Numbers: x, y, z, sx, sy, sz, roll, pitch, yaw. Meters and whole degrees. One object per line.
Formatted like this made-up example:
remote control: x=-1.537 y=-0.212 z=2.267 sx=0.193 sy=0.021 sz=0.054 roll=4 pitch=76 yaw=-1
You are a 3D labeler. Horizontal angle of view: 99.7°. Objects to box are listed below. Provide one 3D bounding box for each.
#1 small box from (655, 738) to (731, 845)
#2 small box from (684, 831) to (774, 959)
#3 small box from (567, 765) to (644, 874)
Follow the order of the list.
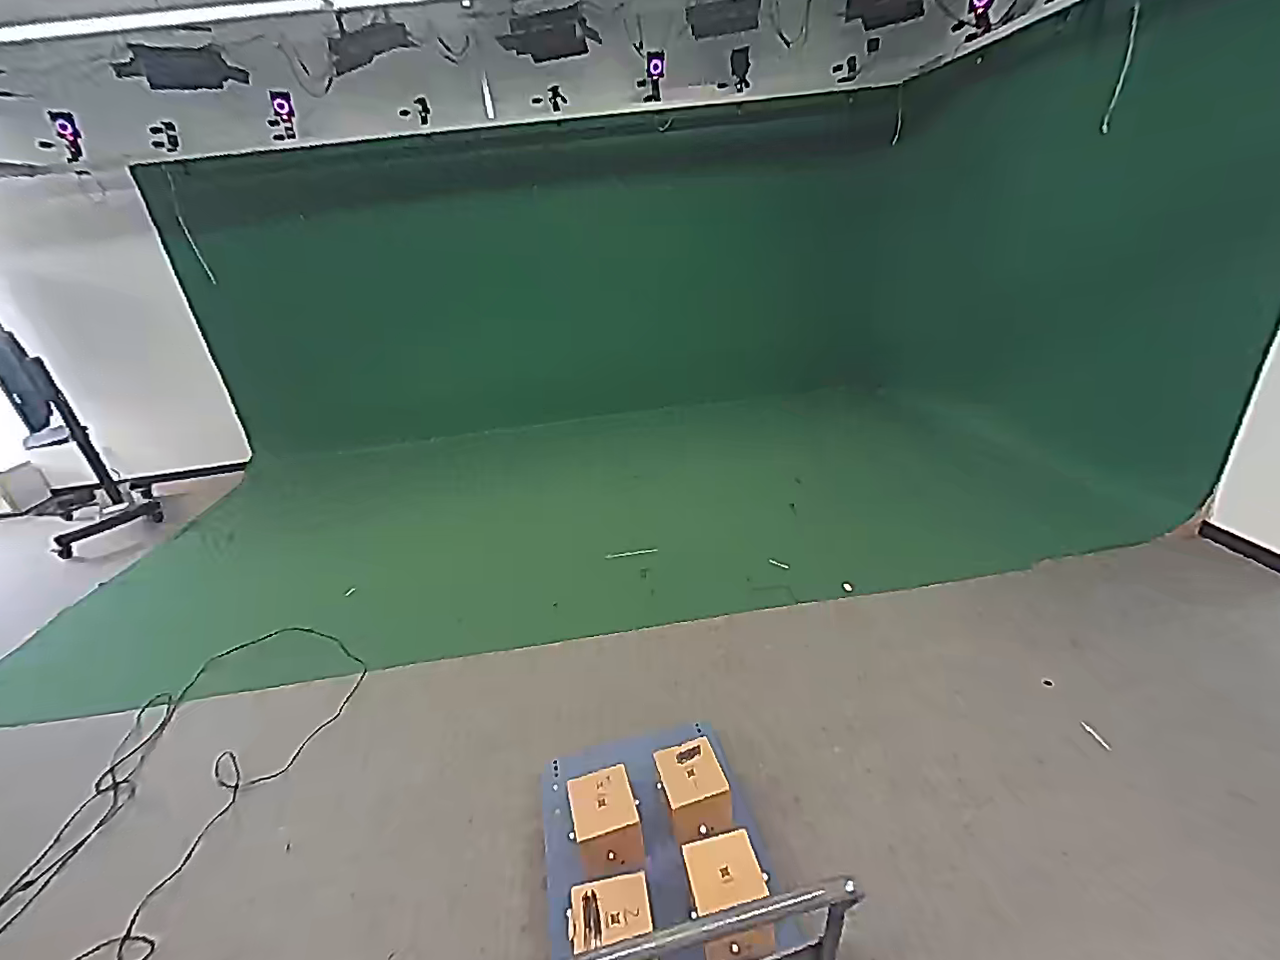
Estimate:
small box: x=0.148 y=0.872 z=1.517 sx=0.168 sy=0.176 sz=0.179 roll=-13 pitch=28 yaw=-11
small box: x=0.205 y=0.984 z=1.277 sx=0.168 sy=0.176 sz=0.179 roll=-10 pitch=26 yaw=-8
small box: x=-0.093 y=0.924 z=1.464 sx=0.168 sy=0.176 sz=0.179 roll=-11 pitch=26 yaw=-12
